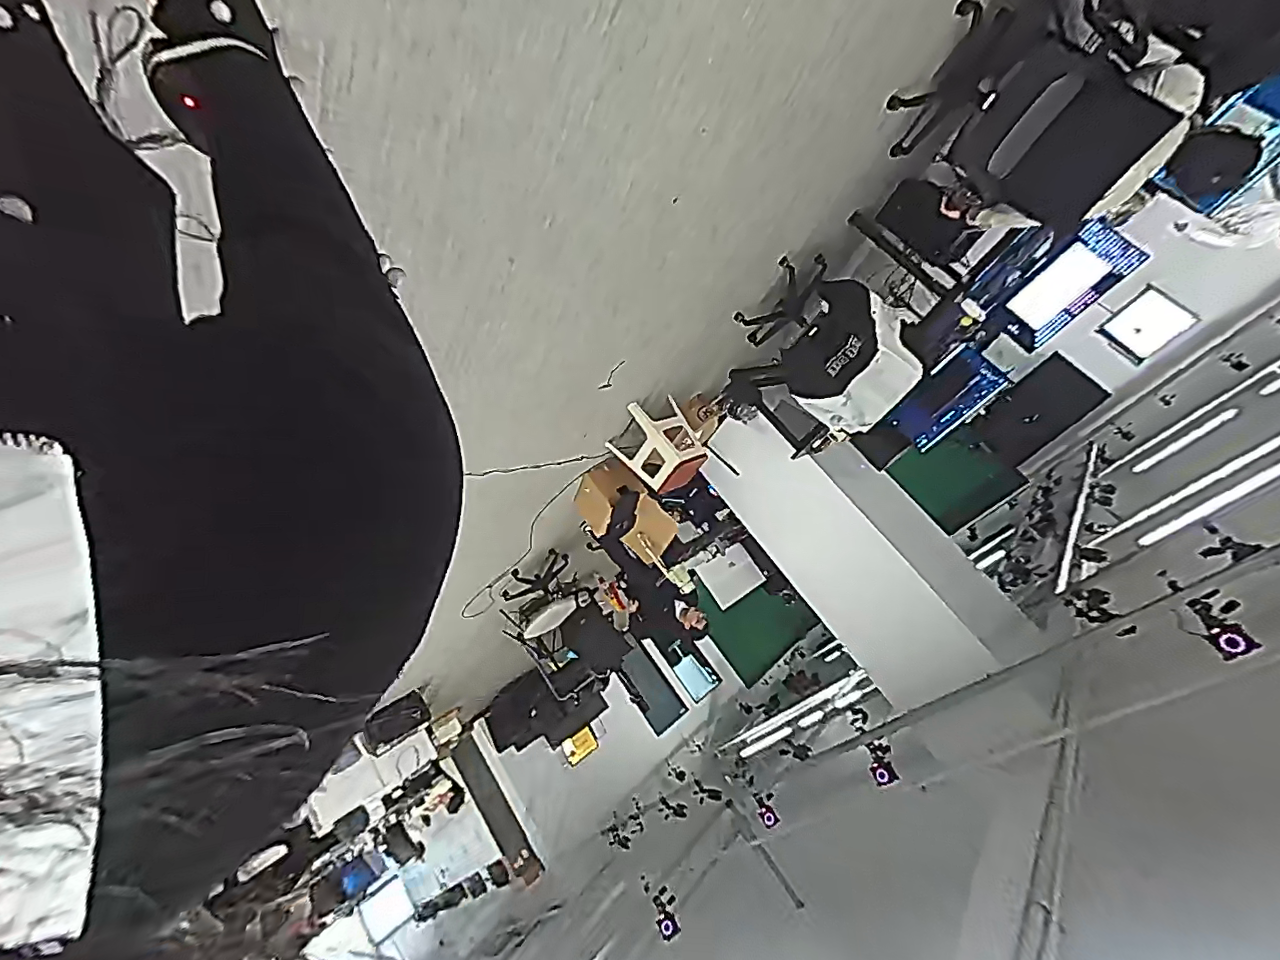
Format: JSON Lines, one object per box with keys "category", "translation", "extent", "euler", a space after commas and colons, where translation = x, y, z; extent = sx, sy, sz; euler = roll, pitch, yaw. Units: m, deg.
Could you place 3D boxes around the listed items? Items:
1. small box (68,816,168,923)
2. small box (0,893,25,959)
{"category": "small box", "translation": [-1.492, 1.110, 1.547], "extent": [0.179, 0.176, 0.168], "euler": [-19, 154, -46]}
{"category": "small box", "translation": [-1.683, 1.176, 1.346], "extent": [0.168, 0.176, 0.179], "euler": [-18, 153, -47]}
